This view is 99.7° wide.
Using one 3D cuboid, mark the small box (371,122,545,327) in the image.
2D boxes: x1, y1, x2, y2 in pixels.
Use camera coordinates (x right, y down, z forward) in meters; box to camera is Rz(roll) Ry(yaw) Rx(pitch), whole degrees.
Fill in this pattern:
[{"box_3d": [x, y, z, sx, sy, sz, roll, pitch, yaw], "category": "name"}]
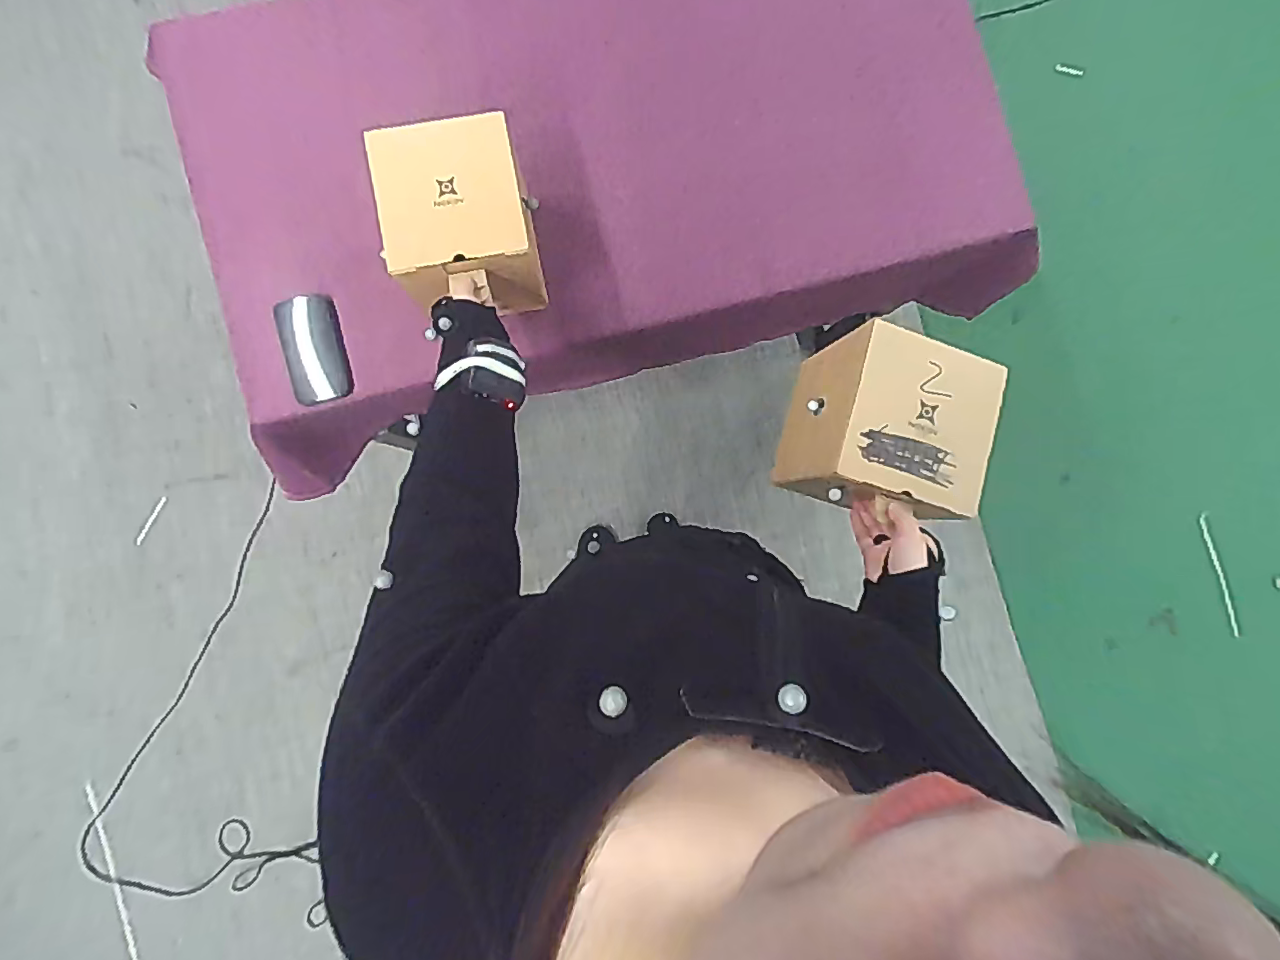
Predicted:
[{"box_3d": [-0.229, -0.325, 0.717, 0.168, 0.176, 0.179, -11, 86, -4], "category": "small box"}]
